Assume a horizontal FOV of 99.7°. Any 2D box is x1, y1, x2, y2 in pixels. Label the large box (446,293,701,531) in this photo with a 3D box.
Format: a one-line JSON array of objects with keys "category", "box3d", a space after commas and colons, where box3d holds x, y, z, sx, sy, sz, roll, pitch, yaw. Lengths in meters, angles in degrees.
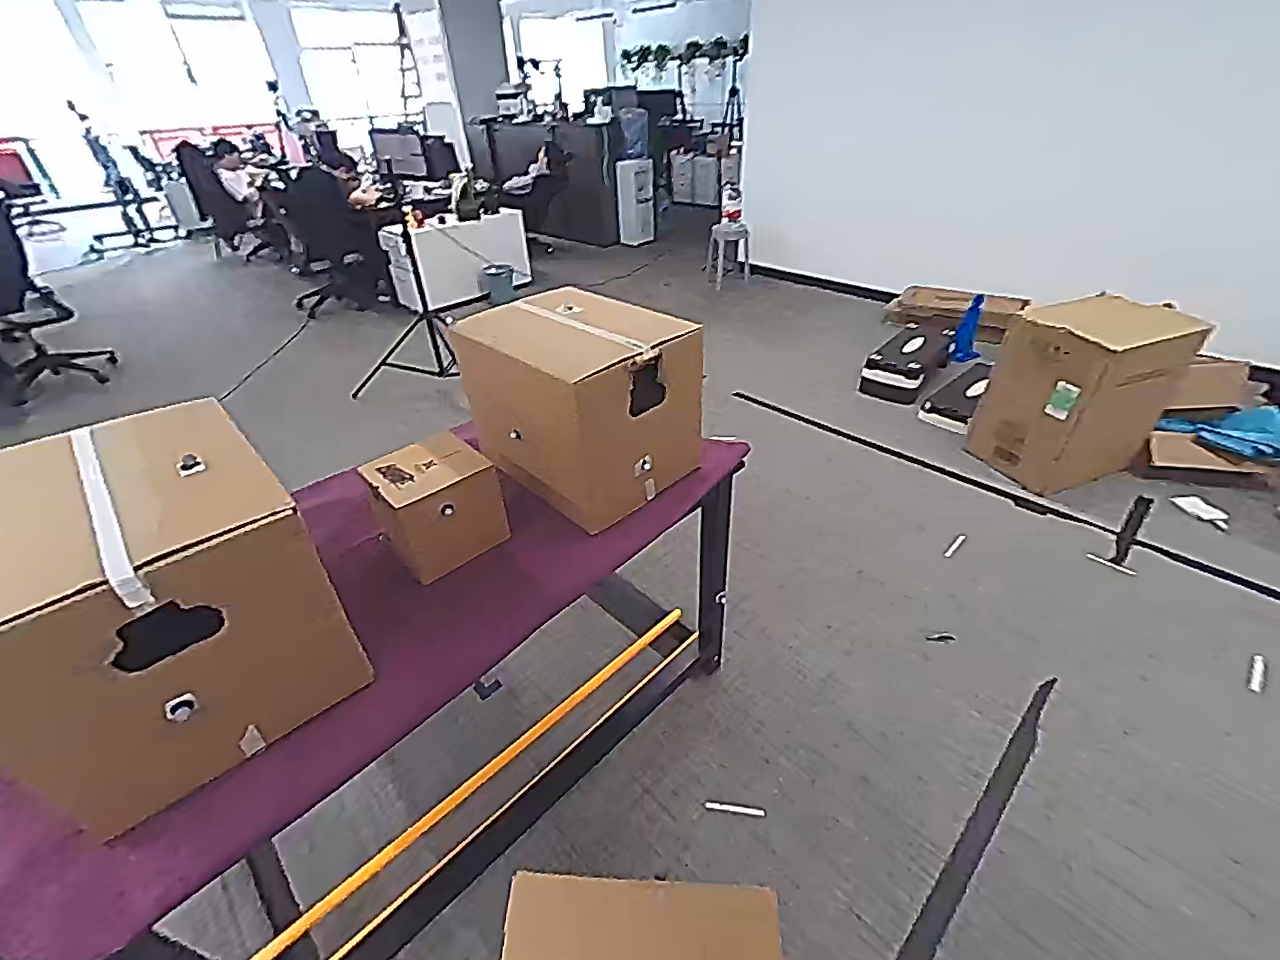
[{"category": "large box", "box3d": [-0.122, -0.158, 1.102, 0.320, 0.320, 0.408, -31, 43, -34]}]
